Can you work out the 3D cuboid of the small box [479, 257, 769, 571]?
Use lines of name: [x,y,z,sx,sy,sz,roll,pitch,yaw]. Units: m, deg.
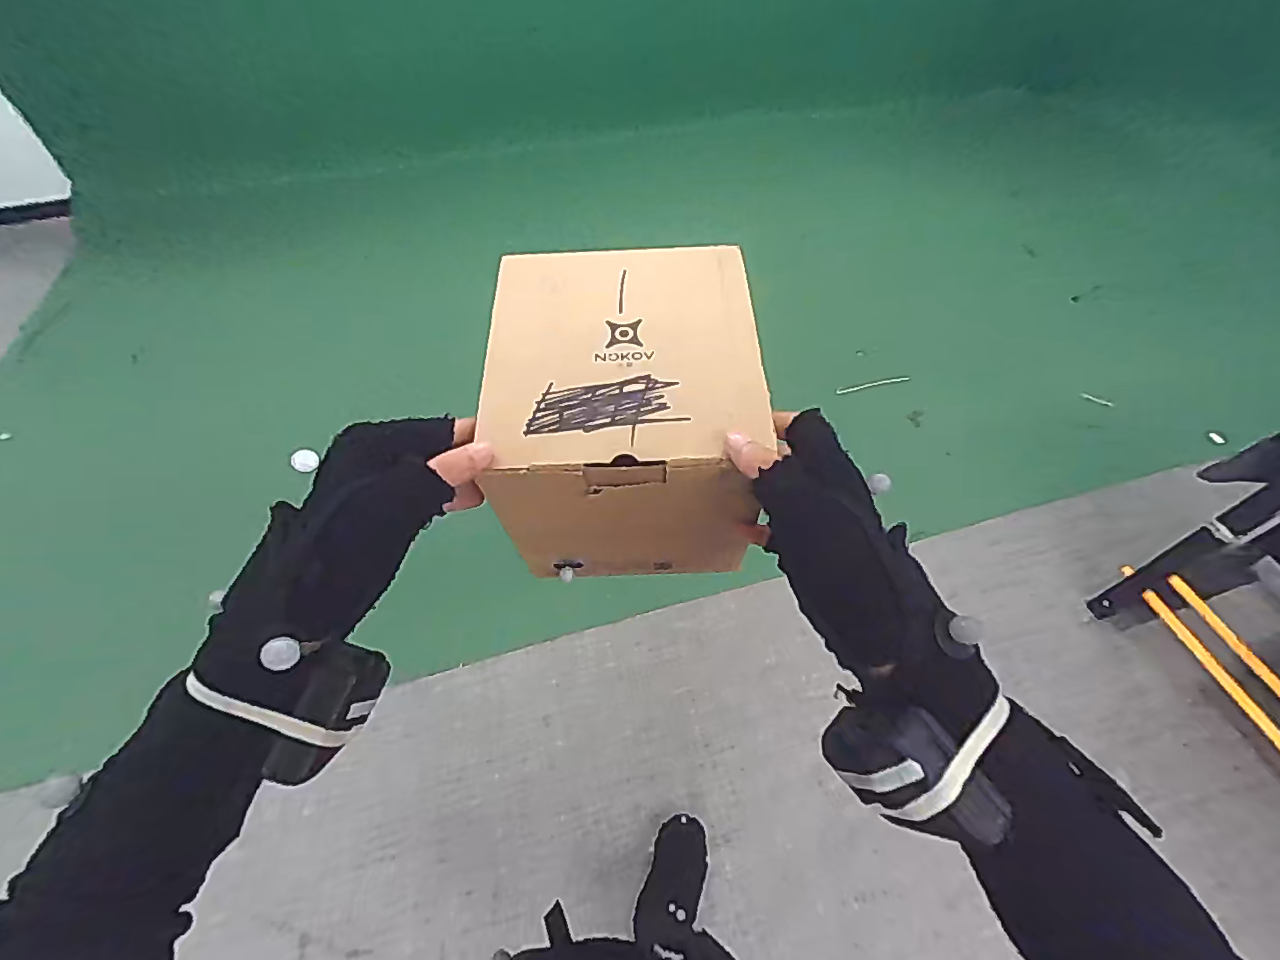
small box: [-0.007,-0.037,0.407,0.168,0.176,0.179,-2,59,1]
